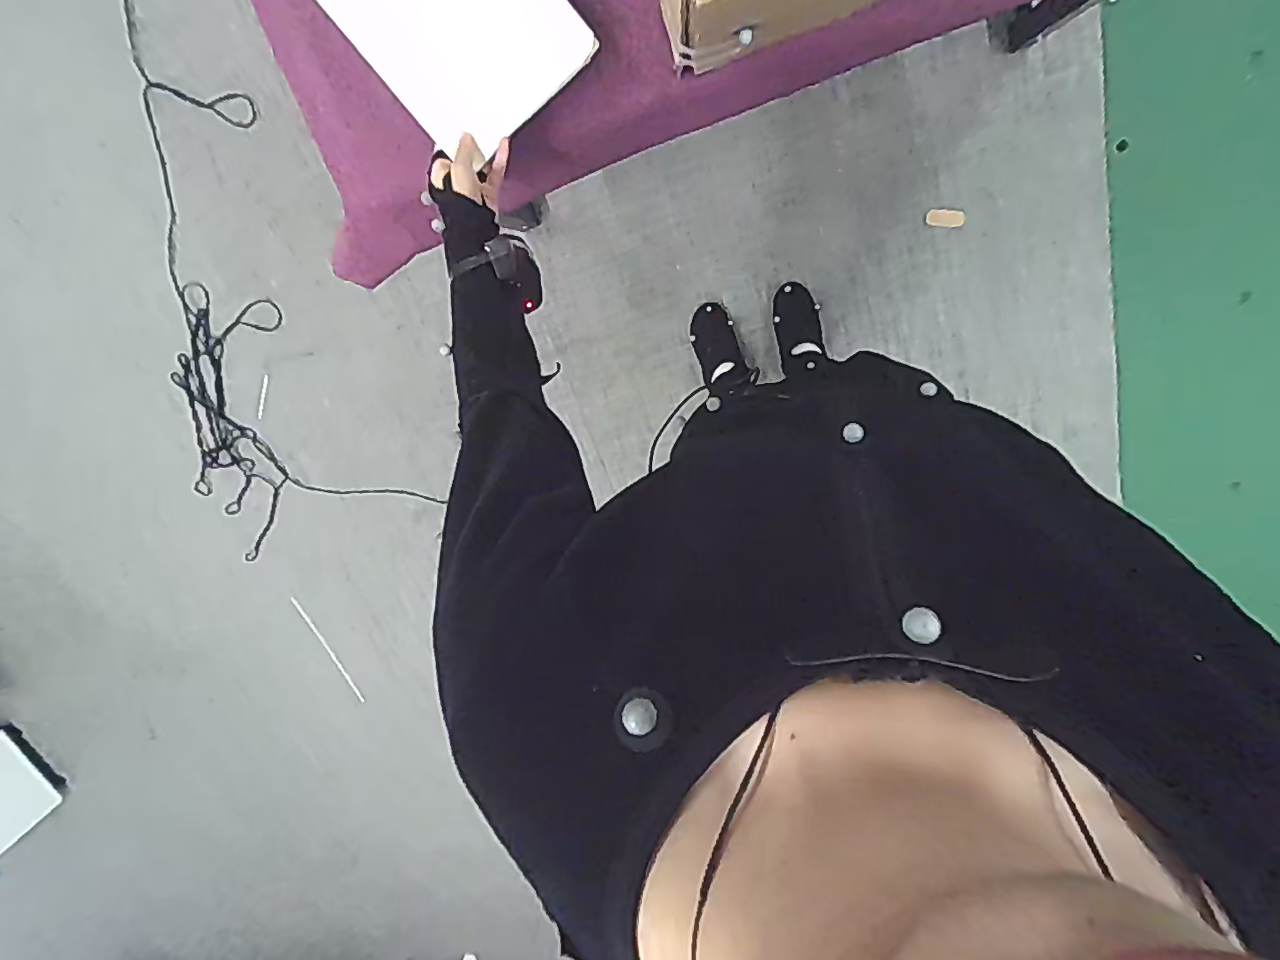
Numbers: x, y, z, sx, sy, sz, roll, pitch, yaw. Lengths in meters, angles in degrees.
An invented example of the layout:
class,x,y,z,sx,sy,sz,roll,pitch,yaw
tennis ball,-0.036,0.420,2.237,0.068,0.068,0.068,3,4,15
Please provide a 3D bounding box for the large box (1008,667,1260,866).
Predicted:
class,x,y,z,sx,sy,sz,roll,pitch,yaw
large box,1.413,0.830,1.588,0.408,0.320,0.320,-31,106,14
